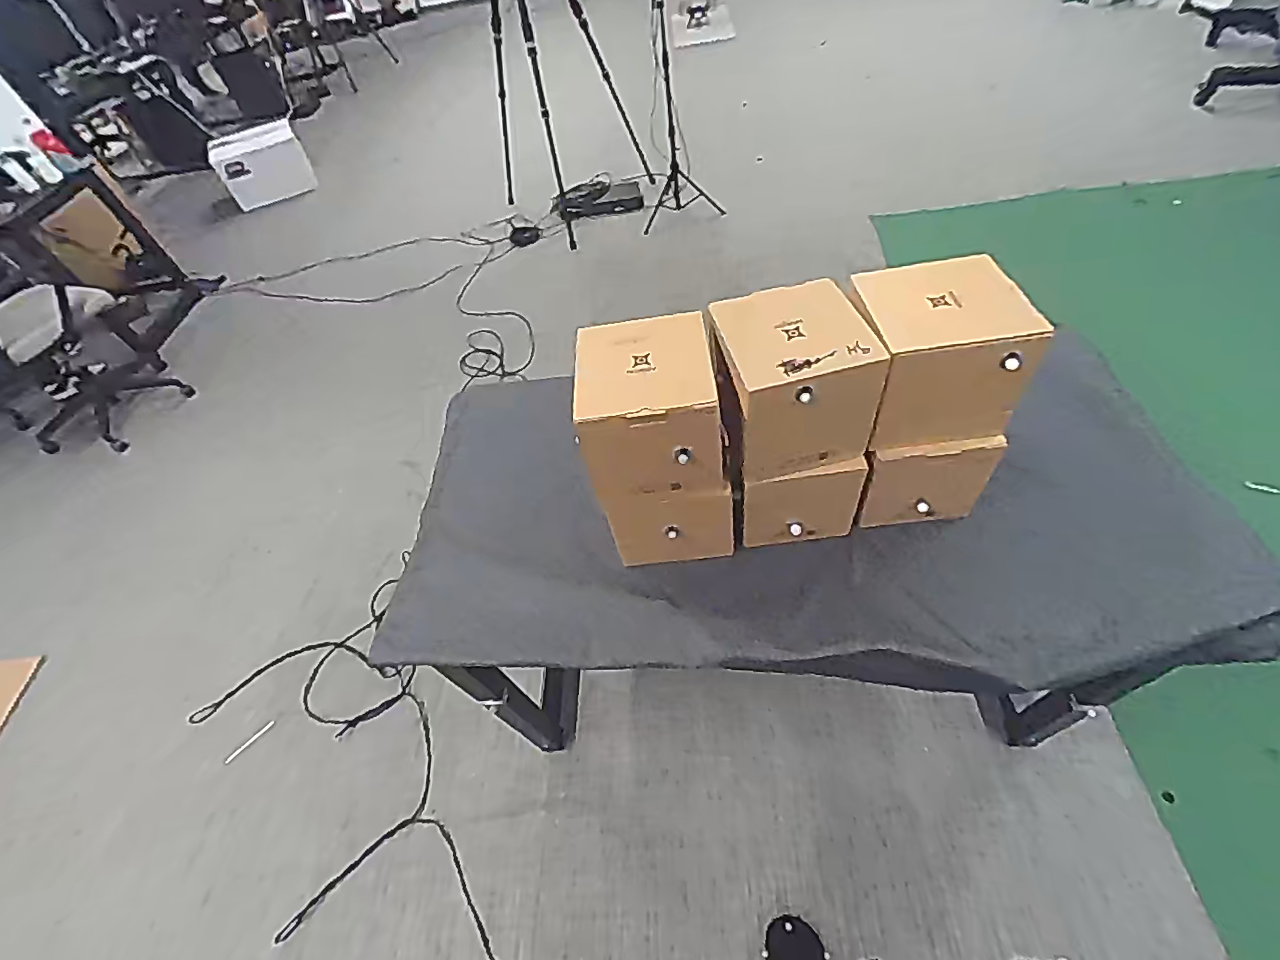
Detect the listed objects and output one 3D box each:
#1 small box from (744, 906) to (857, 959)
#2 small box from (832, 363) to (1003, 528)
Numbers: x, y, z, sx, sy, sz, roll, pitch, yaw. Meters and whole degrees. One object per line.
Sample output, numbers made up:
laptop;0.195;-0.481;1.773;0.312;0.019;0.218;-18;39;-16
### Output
small box;0.293;0.957;0.989;0.168;0.176;0.179;3;23;46
small box;0.402;-0.050;0.824;0.168;0.176;0.179;-8;51;6
